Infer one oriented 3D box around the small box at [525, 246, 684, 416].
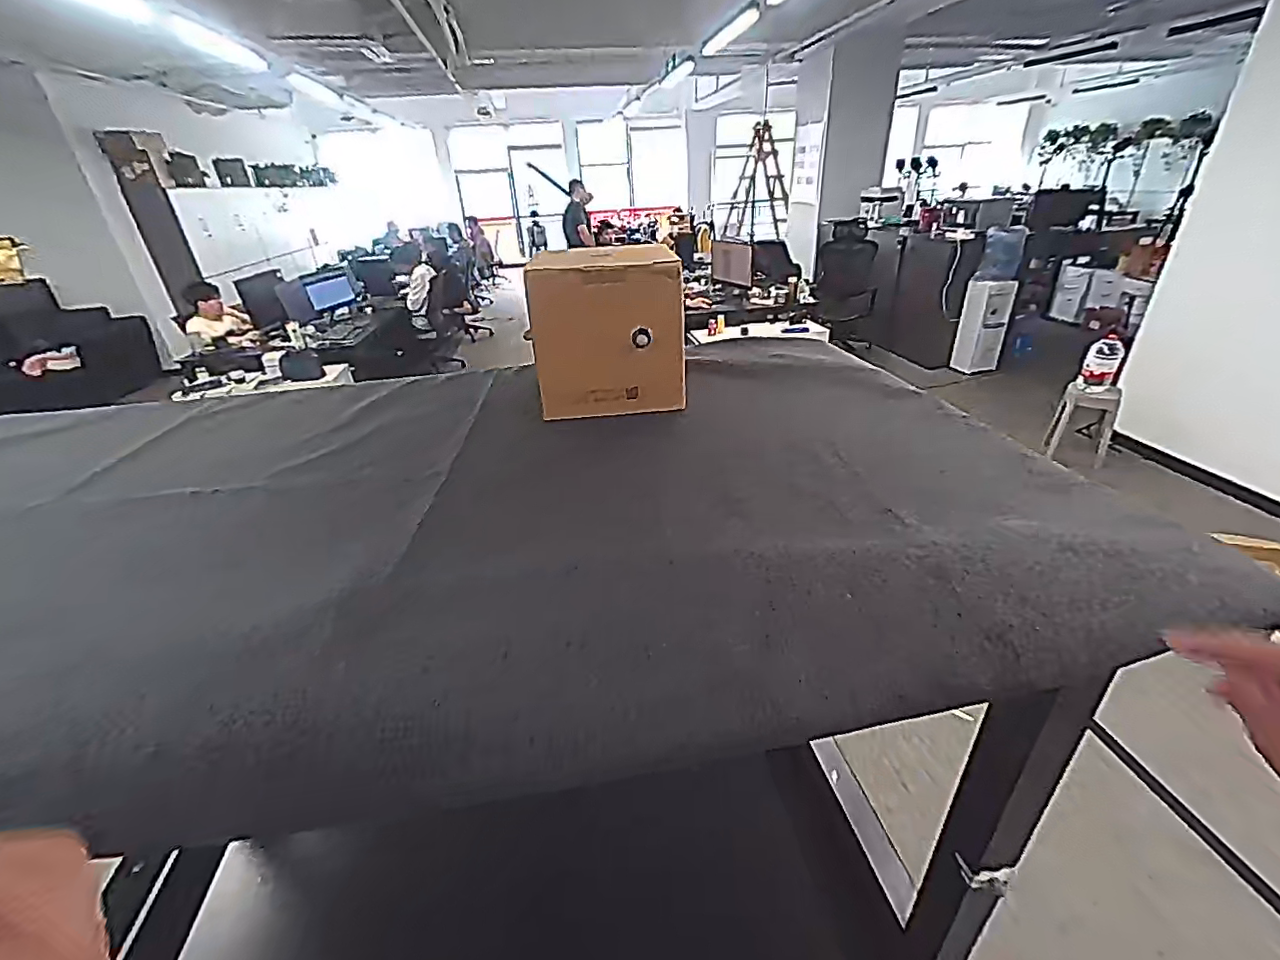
[{"bbox_3d":[-0.037,-0.181,0.660,0.168,0.176,0.179,-4,29,-3],"label":"small box"}]
